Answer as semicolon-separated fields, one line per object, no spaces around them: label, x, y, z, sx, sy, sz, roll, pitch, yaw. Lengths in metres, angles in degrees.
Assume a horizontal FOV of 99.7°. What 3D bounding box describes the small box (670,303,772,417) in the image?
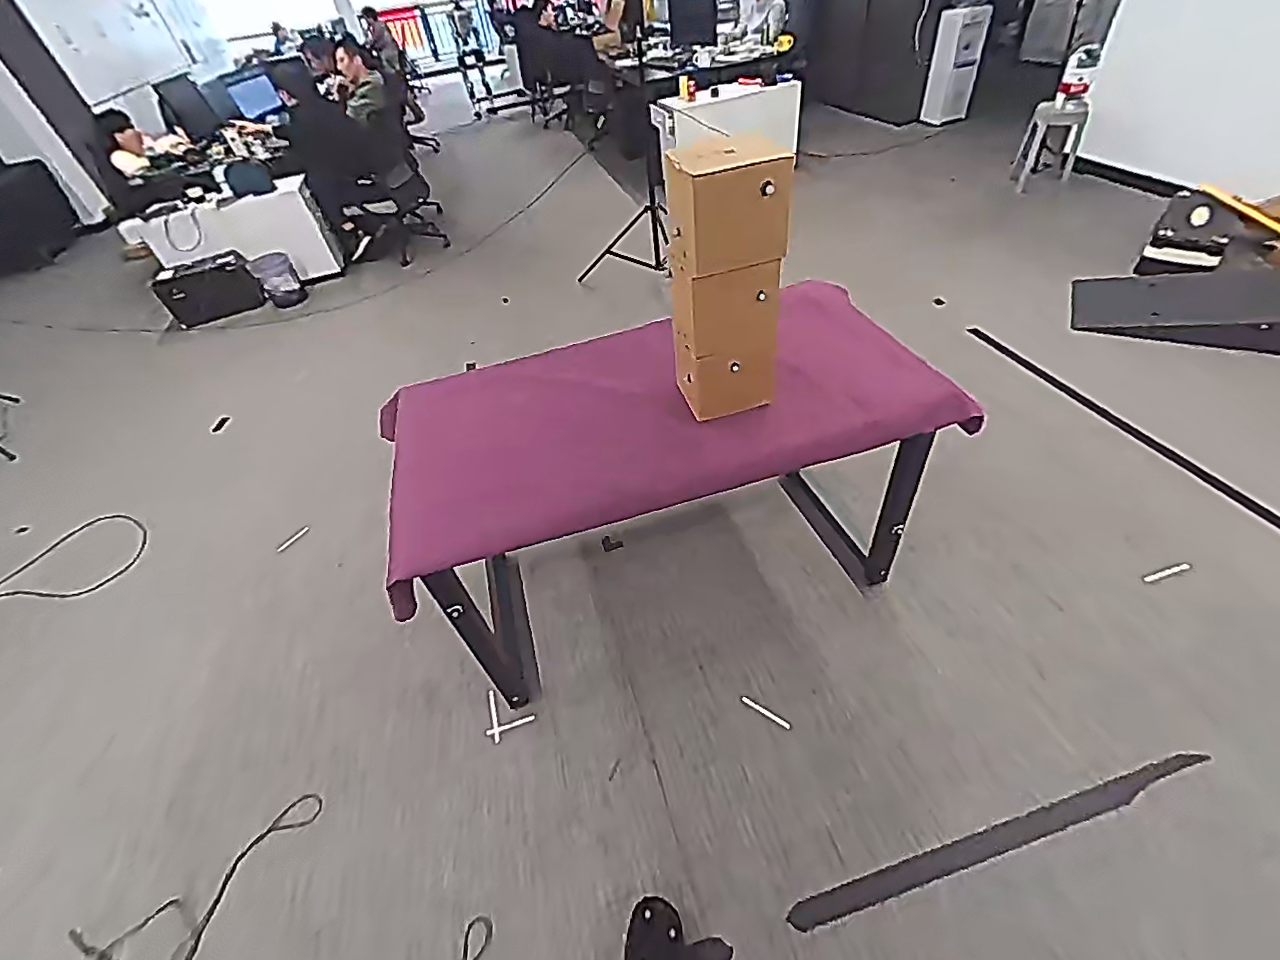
small box;0.178;-0.262;1.197;0.179;0.176;0.168;-15;46;-6

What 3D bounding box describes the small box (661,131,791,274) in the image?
small box;0.148;-0.493;0.964;0.179;0.176;0.168;-16;45;-6
